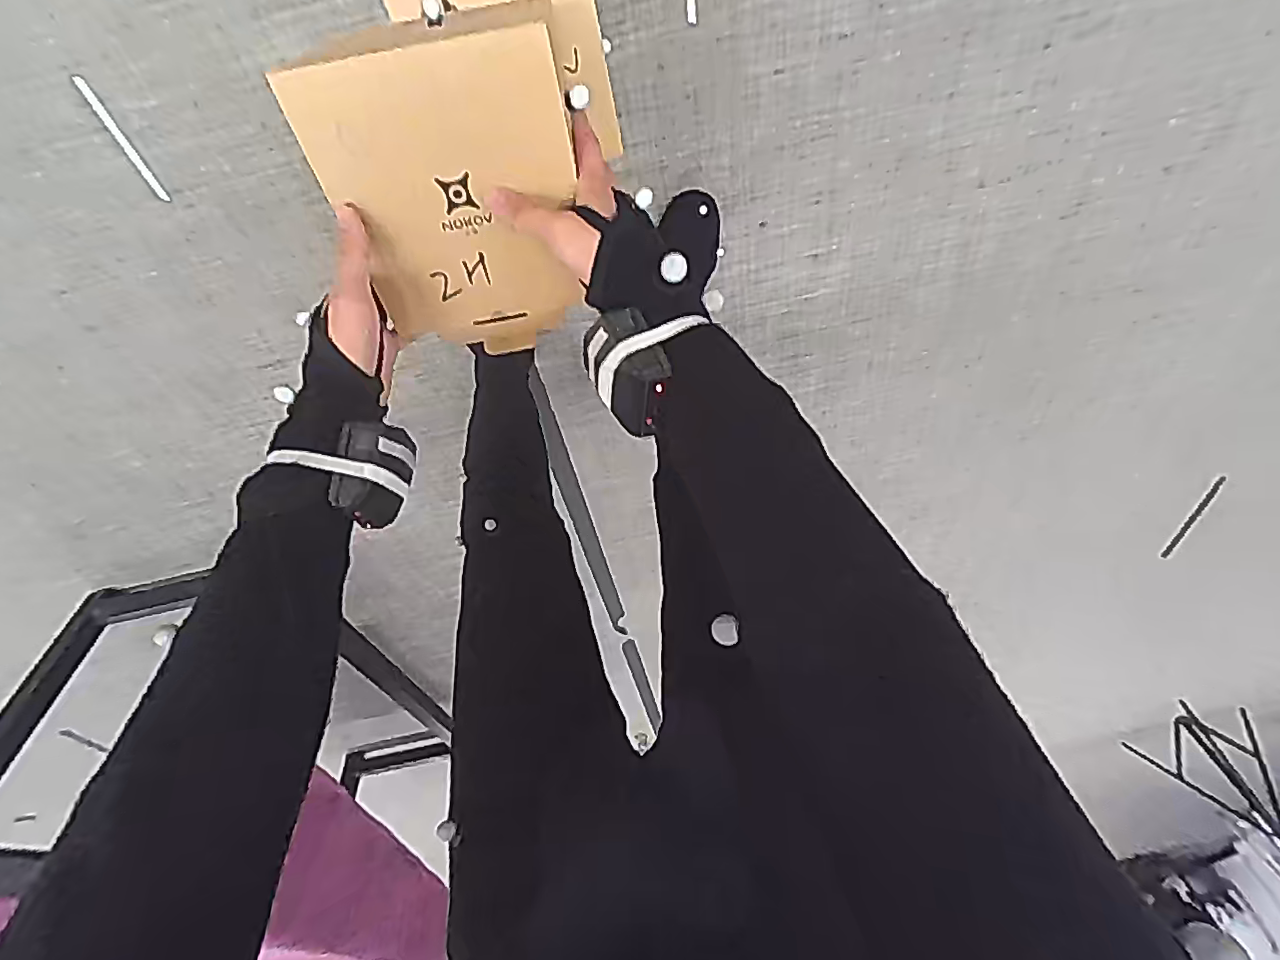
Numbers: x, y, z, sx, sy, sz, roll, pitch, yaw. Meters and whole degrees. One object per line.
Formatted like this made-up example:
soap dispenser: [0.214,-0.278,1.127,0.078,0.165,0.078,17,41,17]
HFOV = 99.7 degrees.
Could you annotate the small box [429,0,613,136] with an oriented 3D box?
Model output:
small box: [-0.137,-0.533,0.673,0.168,0.176,0.179,-15,133,5]

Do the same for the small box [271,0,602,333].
small box: [-0.128,-0.244,0.417,0.168,0.176,0.179,-9,137,1]
